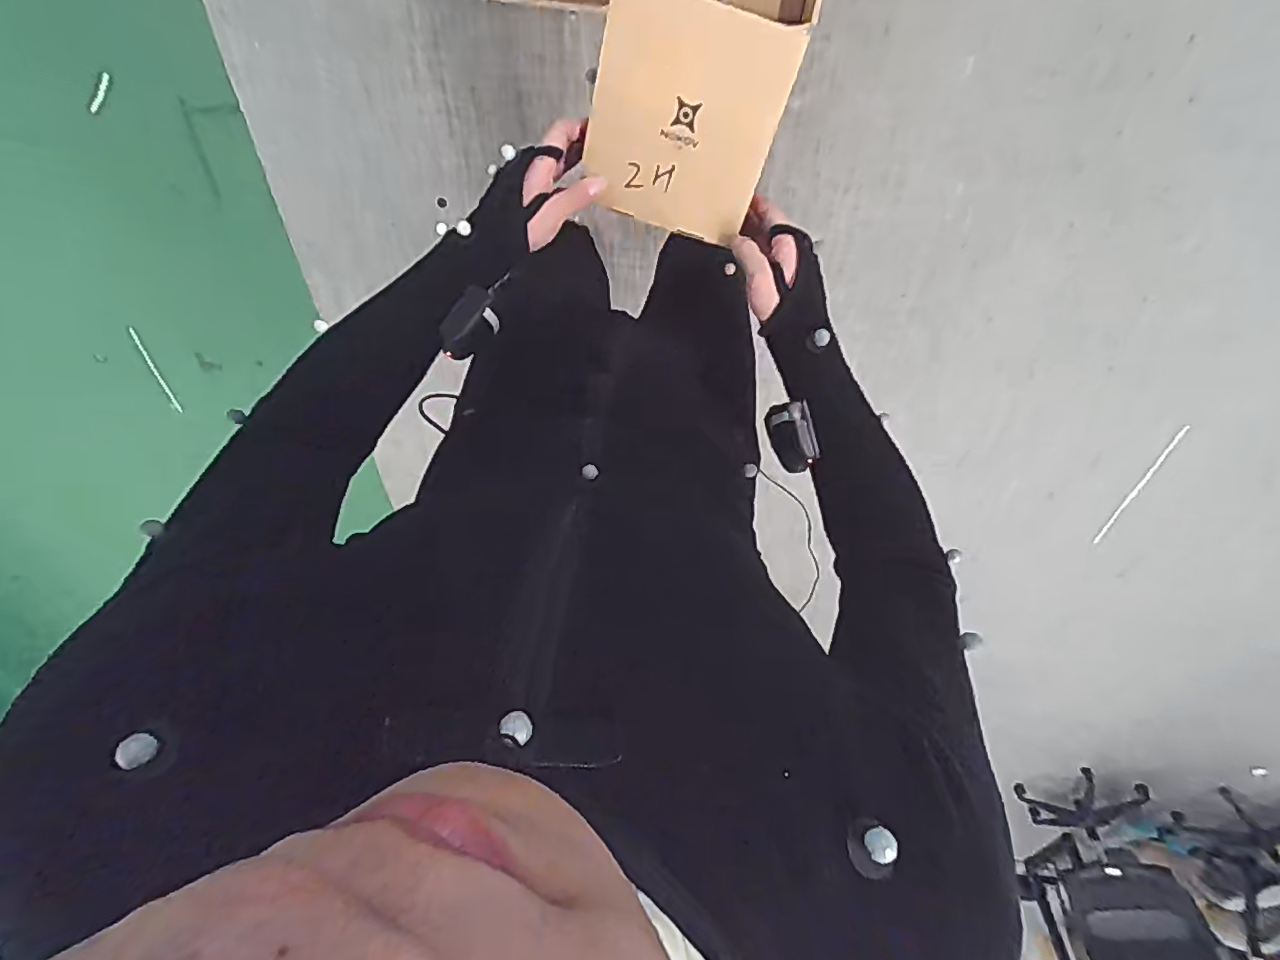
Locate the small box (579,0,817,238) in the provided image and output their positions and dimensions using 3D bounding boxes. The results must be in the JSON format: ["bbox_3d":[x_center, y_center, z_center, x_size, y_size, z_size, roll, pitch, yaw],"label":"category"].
[{"bbox_3d":[0.047,-0.374,0.535,0.168,0.176,0.179,15,129,-7],"label":"small box"}]
